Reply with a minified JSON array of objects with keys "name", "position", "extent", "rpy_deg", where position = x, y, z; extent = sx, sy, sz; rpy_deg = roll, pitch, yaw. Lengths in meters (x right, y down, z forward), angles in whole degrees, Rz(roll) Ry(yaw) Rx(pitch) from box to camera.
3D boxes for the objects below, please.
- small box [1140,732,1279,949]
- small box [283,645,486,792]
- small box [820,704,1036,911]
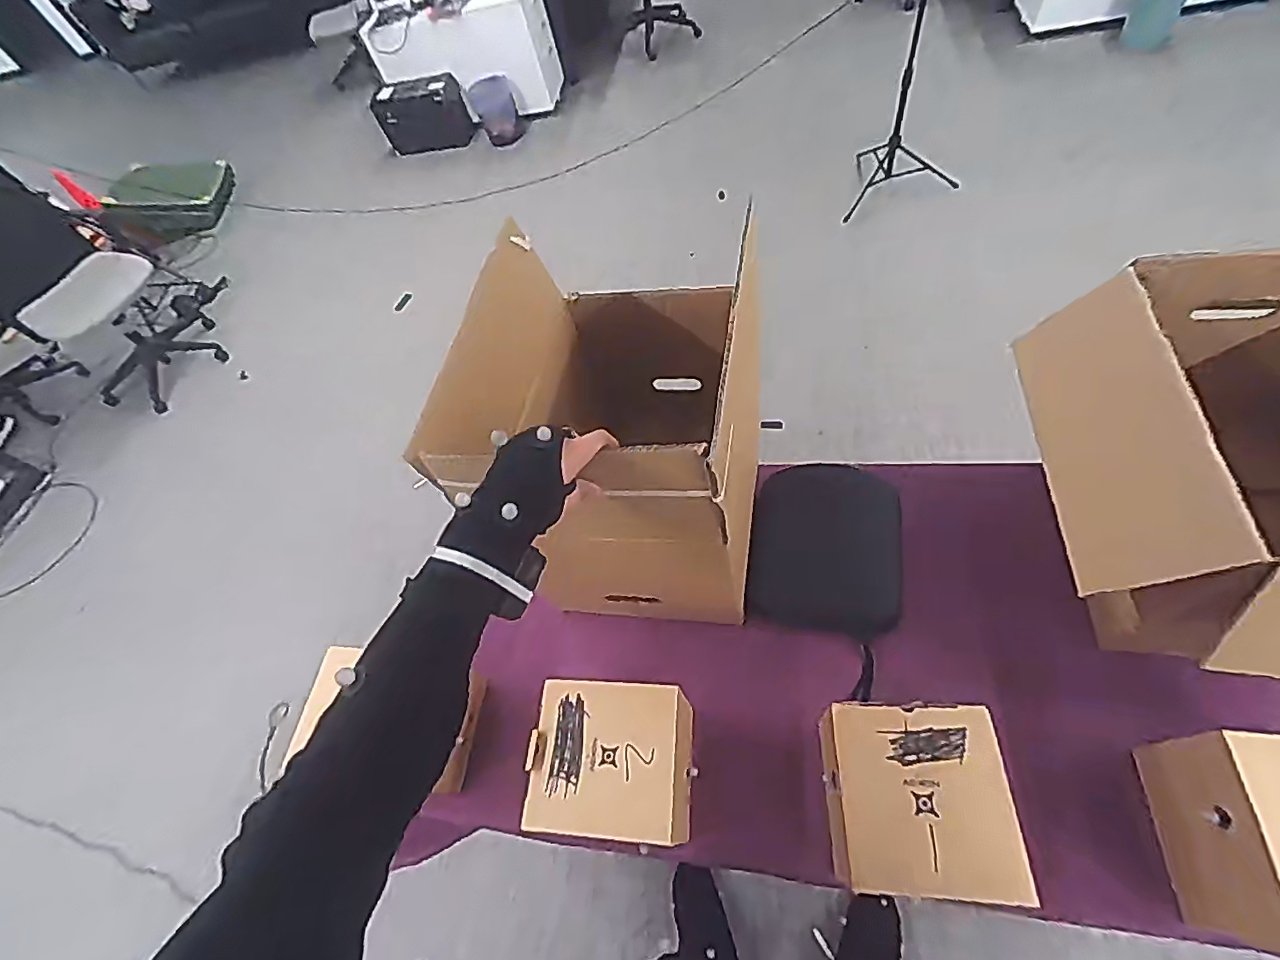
[{"name":"small box","position":[0.659,0.368,0.540],"extent":[0.168,0.176,0.179],"rpy_deg":[1,59,15]},{"name":"small box","position":[-0.356,0.350,0.789],"extent":[0.179,0.176,0.168],"rpy_deg":[1,59,12]},{"name":"small box","position":[0.307,0.368,0.624],"extent":[0.168,0.176,0.179],"rpy_deg":[-3,59,12]}]
